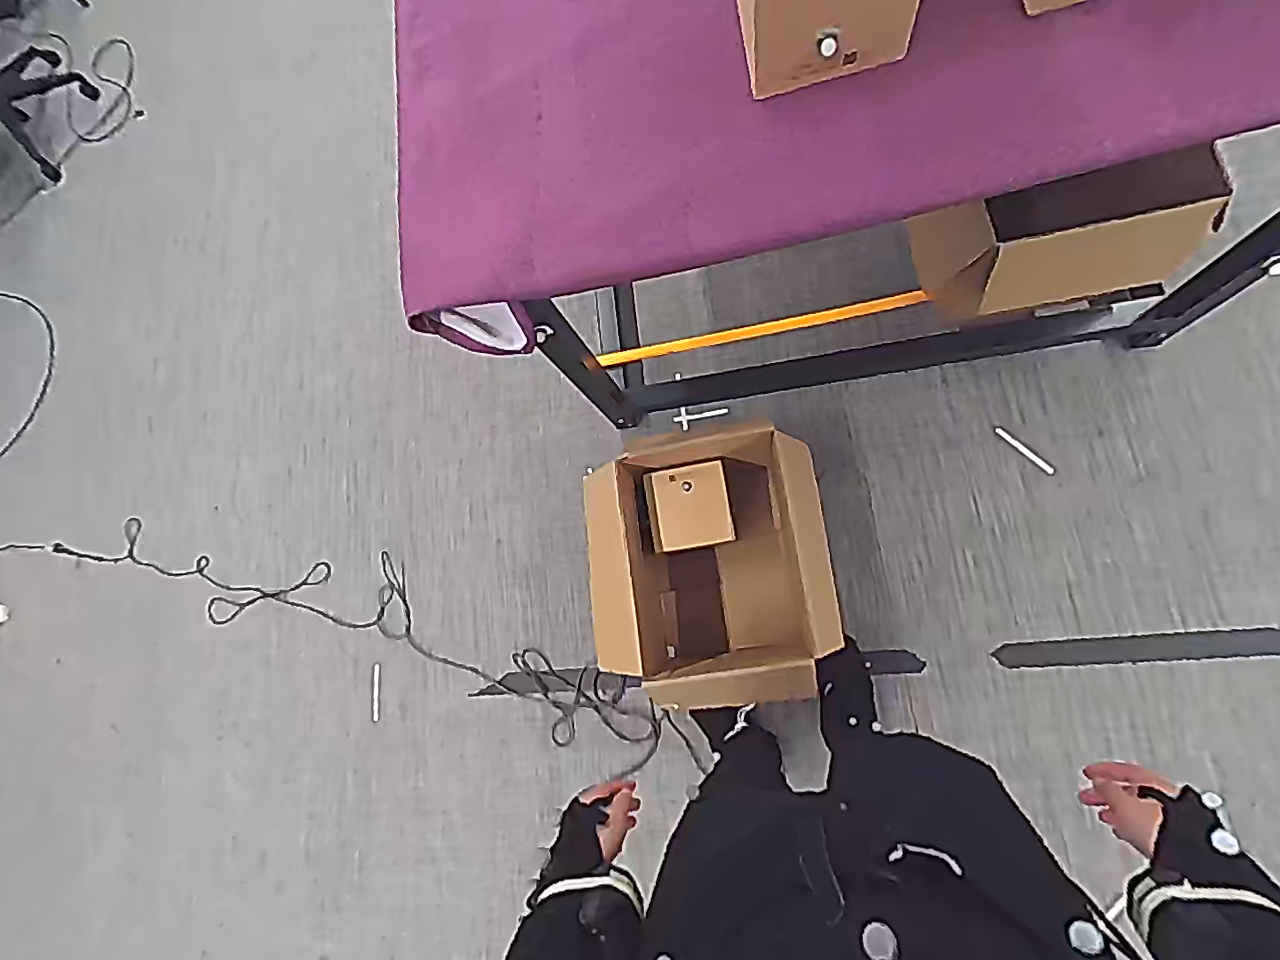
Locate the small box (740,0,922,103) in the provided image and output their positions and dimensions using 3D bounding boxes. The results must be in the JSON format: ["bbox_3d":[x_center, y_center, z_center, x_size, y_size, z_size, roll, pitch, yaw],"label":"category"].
[{"bbox_3d":[0.192,-0.547,0.560,0.168,0.176,0.179,-8,77,12],"label":"small box"}]

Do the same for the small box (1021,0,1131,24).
[{"bbox_3d":[0.471,-0.588,0.498,0.179,0.176,0.168,-7,76,13],"label":"small box"}]
